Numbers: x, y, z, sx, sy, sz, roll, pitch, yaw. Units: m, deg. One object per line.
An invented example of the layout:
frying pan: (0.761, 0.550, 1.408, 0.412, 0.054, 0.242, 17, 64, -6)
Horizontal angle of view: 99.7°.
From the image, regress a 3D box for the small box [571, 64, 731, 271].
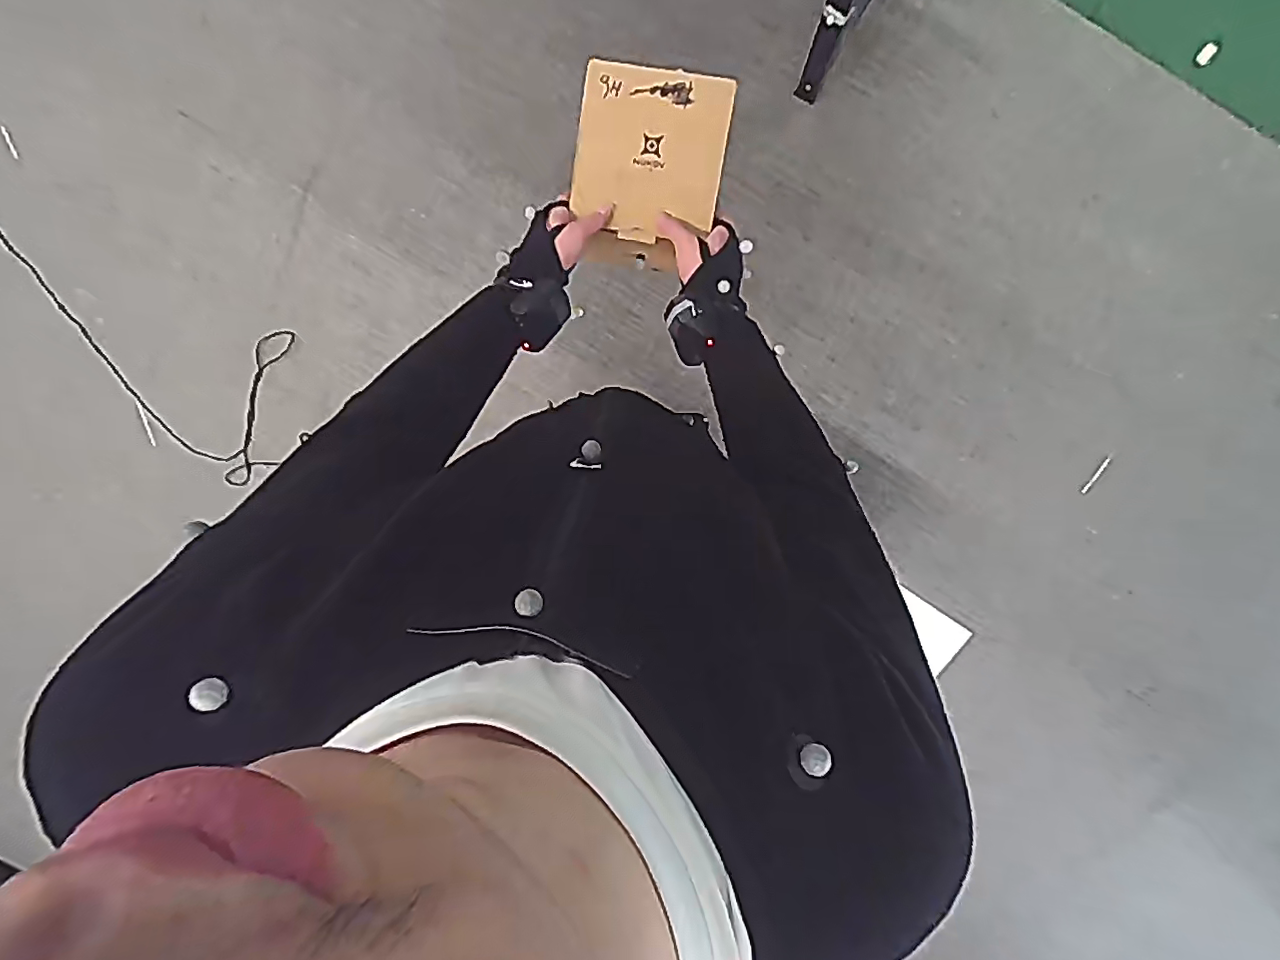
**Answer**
small box: (0.016, -0.375, 0.683, 0.168, 0.176, 0.179, 7, 98, 3)
